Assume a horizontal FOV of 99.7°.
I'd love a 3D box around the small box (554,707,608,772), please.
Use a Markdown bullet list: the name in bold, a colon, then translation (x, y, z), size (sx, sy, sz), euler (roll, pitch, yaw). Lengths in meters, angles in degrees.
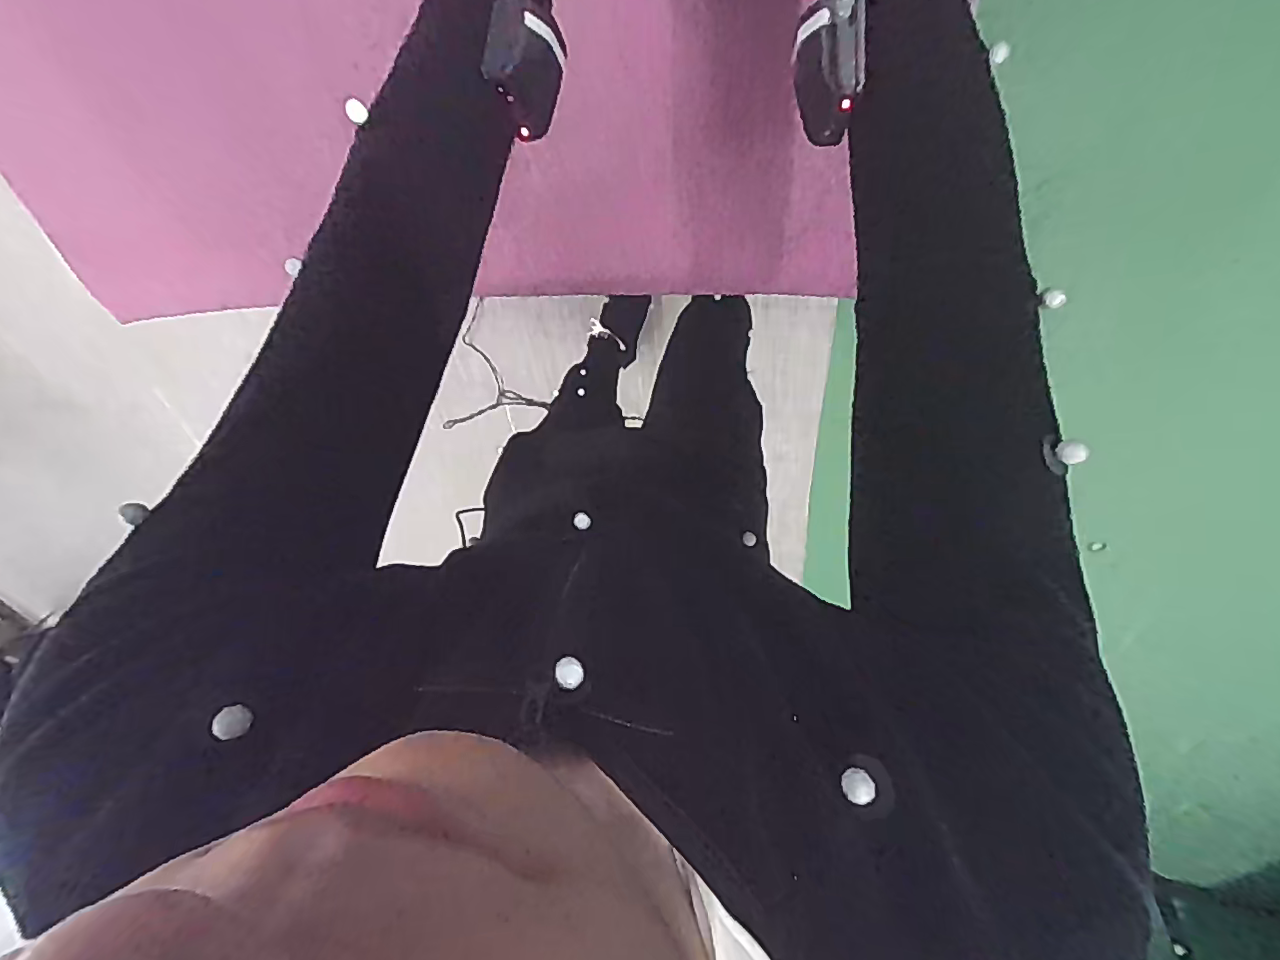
- **small box**: translation (-0.231, 1.035, 2.164), size (0.168, 0.176, 0.179), euler (7, 133, 12)
